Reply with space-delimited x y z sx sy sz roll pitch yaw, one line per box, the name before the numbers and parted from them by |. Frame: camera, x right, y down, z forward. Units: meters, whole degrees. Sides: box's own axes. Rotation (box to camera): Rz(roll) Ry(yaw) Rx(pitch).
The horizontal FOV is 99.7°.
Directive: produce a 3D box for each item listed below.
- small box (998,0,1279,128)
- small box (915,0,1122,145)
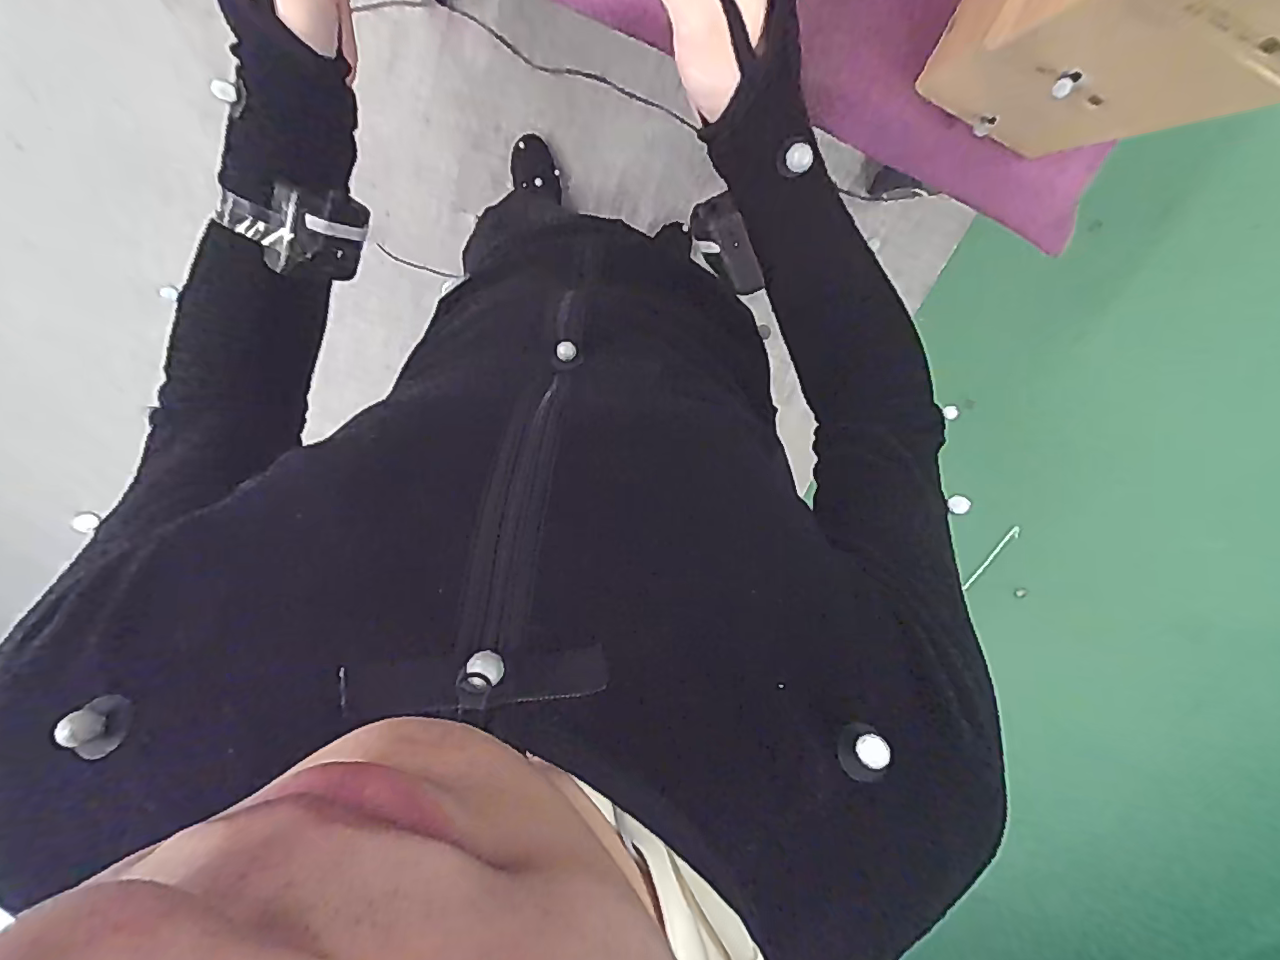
small box | 0.426 -0.407 0.408 0.168 0.176 0.179 25 114 -6
small box | 0.432 -0.474 0.558 0.179 0.176 0.168 25 113 -7
